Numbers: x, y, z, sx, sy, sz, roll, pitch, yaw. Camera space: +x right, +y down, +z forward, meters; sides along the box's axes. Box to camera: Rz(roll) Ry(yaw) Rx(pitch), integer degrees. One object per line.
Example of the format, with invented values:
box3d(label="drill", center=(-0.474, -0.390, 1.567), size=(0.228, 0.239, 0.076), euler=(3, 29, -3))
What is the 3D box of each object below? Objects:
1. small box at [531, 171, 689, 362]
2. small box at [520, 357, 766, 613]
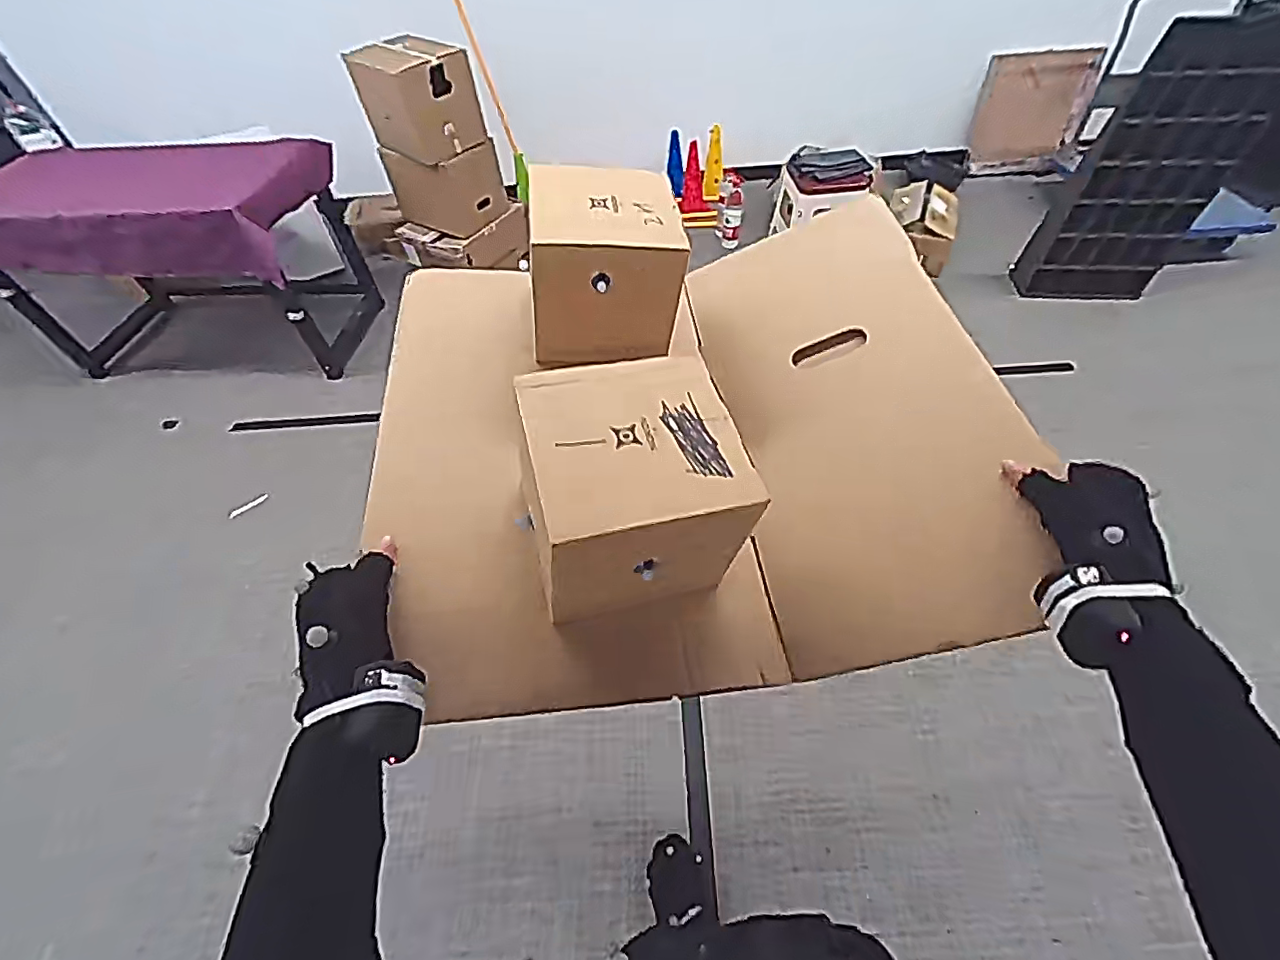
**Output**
box3d(label="small box", center=(-0.047, -0.268, 0.698), size=(0.179, 0.176, 0.168), euler=(-1, 56, -10))
box3d(label="small box", center=(-0.011, 0.008, 0.516), size=(0.179, 0.176, 0.168), euler=(-10, 58, -14))
